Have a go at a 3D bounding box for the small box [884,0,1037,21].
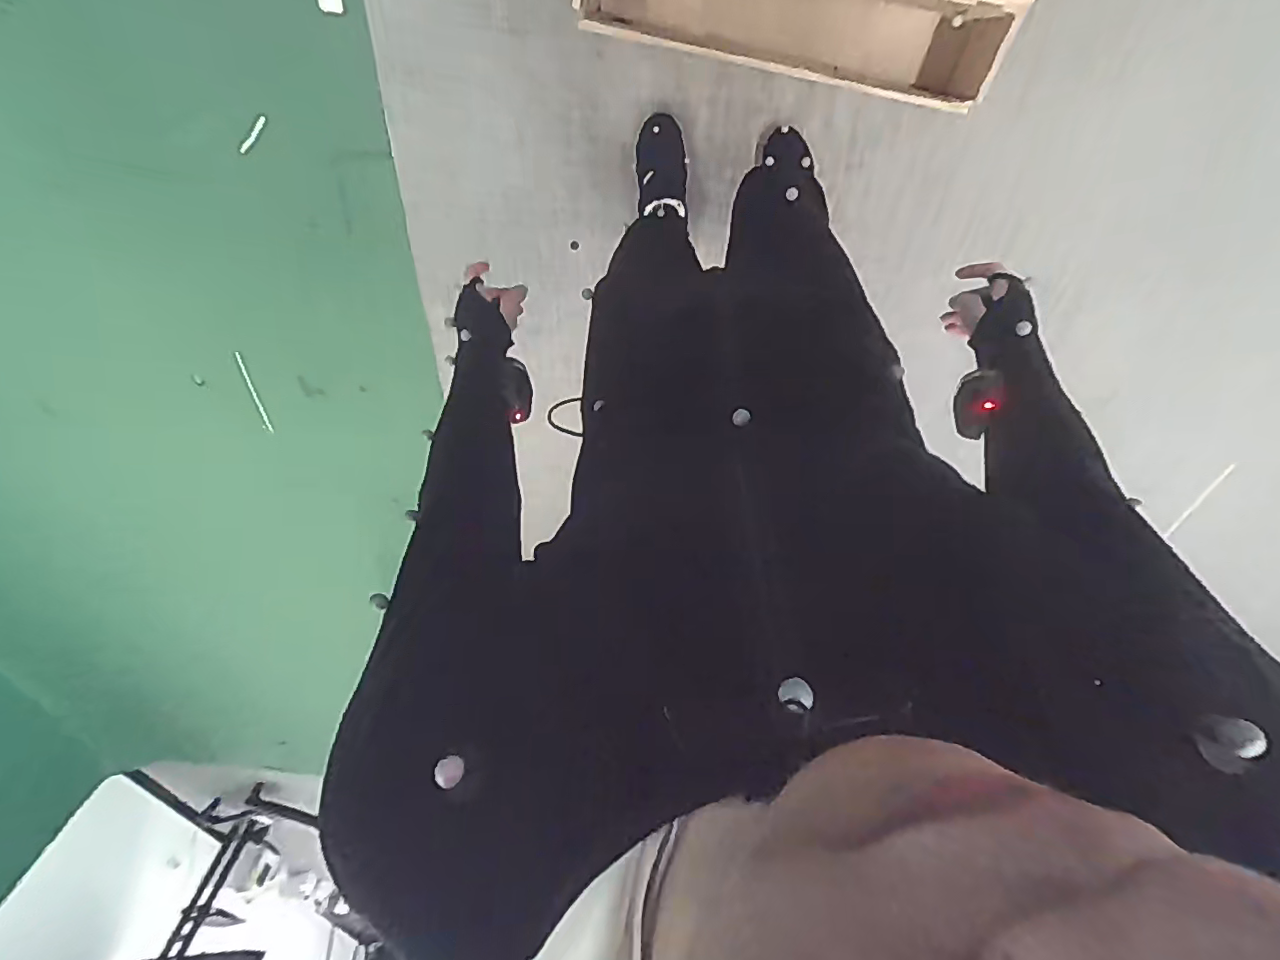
[{"bbox_3d":[0.366,-0.632,0.594,0.168,0.176,0.179,10,129,-4],"label":"small box"}]
